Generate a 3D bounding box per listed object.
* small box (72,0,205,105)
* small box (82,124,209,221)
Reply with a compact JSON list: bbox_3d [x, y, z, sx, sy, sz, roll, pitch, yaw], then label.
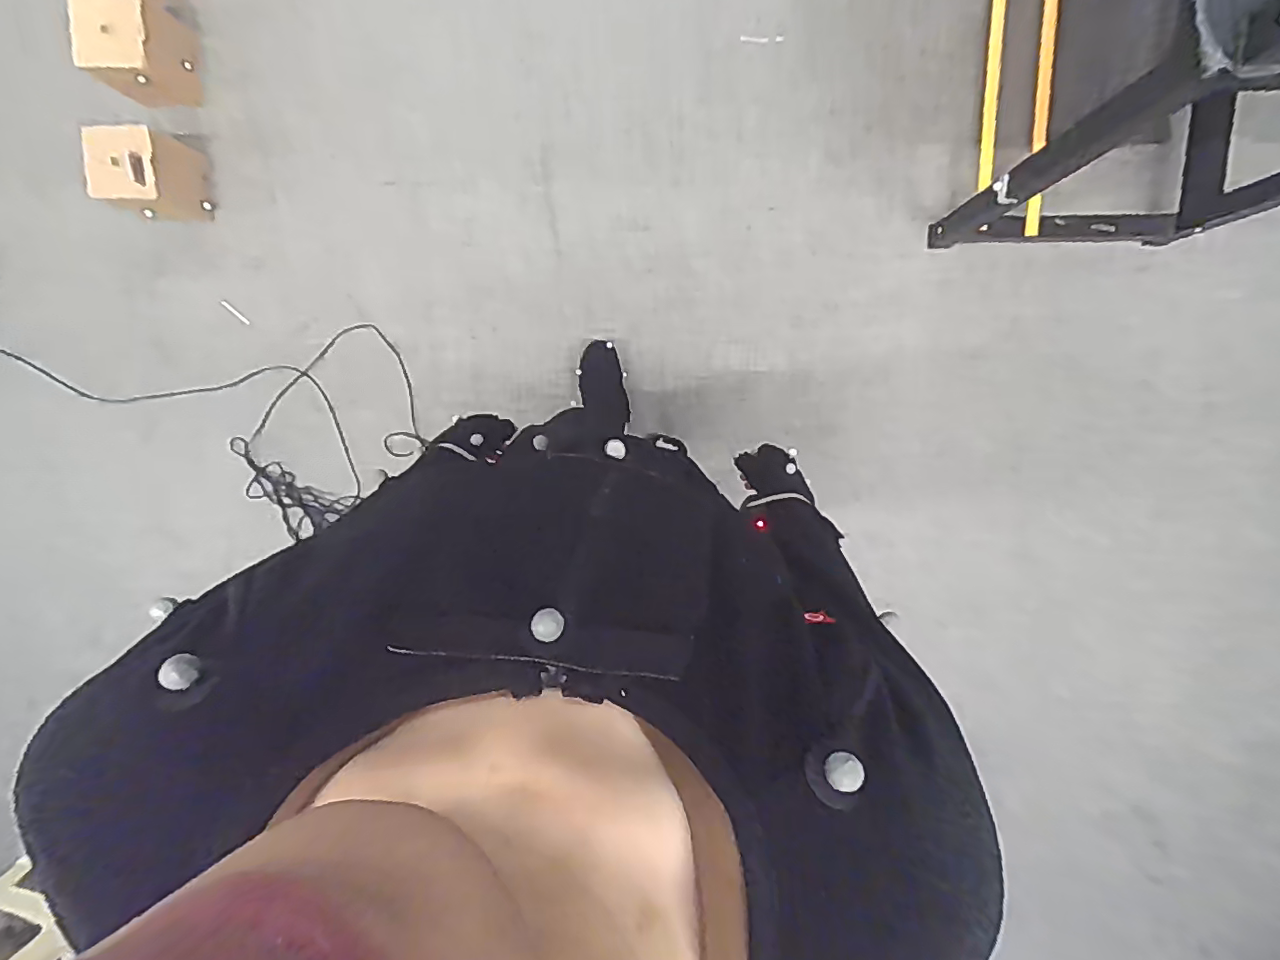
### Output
[{"bbox_3d":[-1.226,-1.057,1.331,0.179,0.176,0.168,2,97,2],"label":"small box"},{"bbox_3d":[-1.231,-0.769,1.364,0.179,0.176,0.168,2,97,3],"label":"small box"}]
